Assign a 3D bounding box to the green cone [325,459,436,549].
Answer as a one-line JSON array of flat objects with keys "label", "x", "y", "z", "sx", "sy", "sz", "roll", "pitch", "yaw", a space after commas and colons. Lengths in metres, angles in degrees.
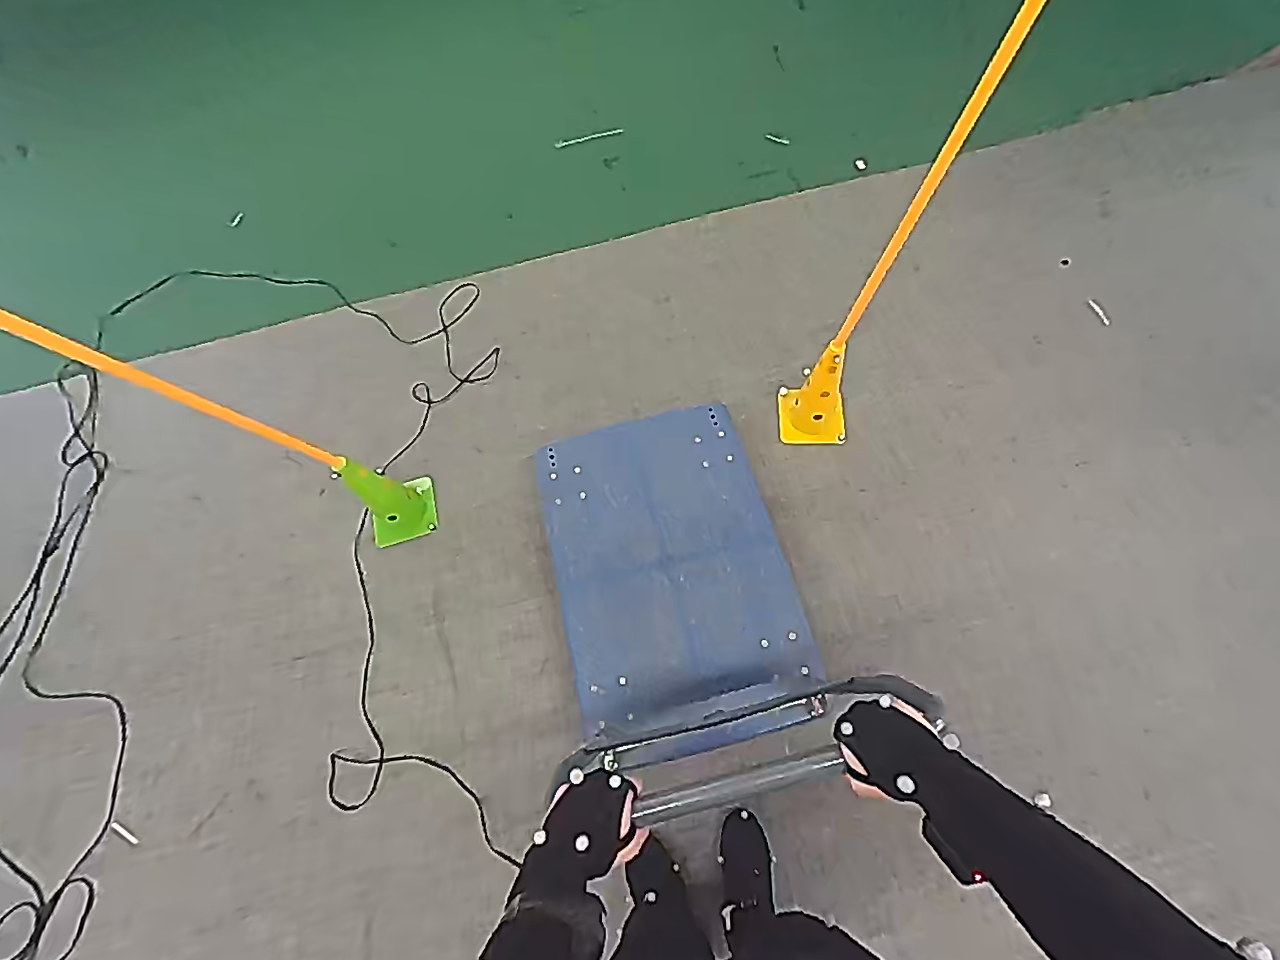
[{"label": "green cone", "x": -0.769, "y": 0.032, "z": 1.556, "sx": 0.202, "sy": 0.368, "sz": 0.200, "roll": -19, "pitch": 64, "yaw": -1}]
